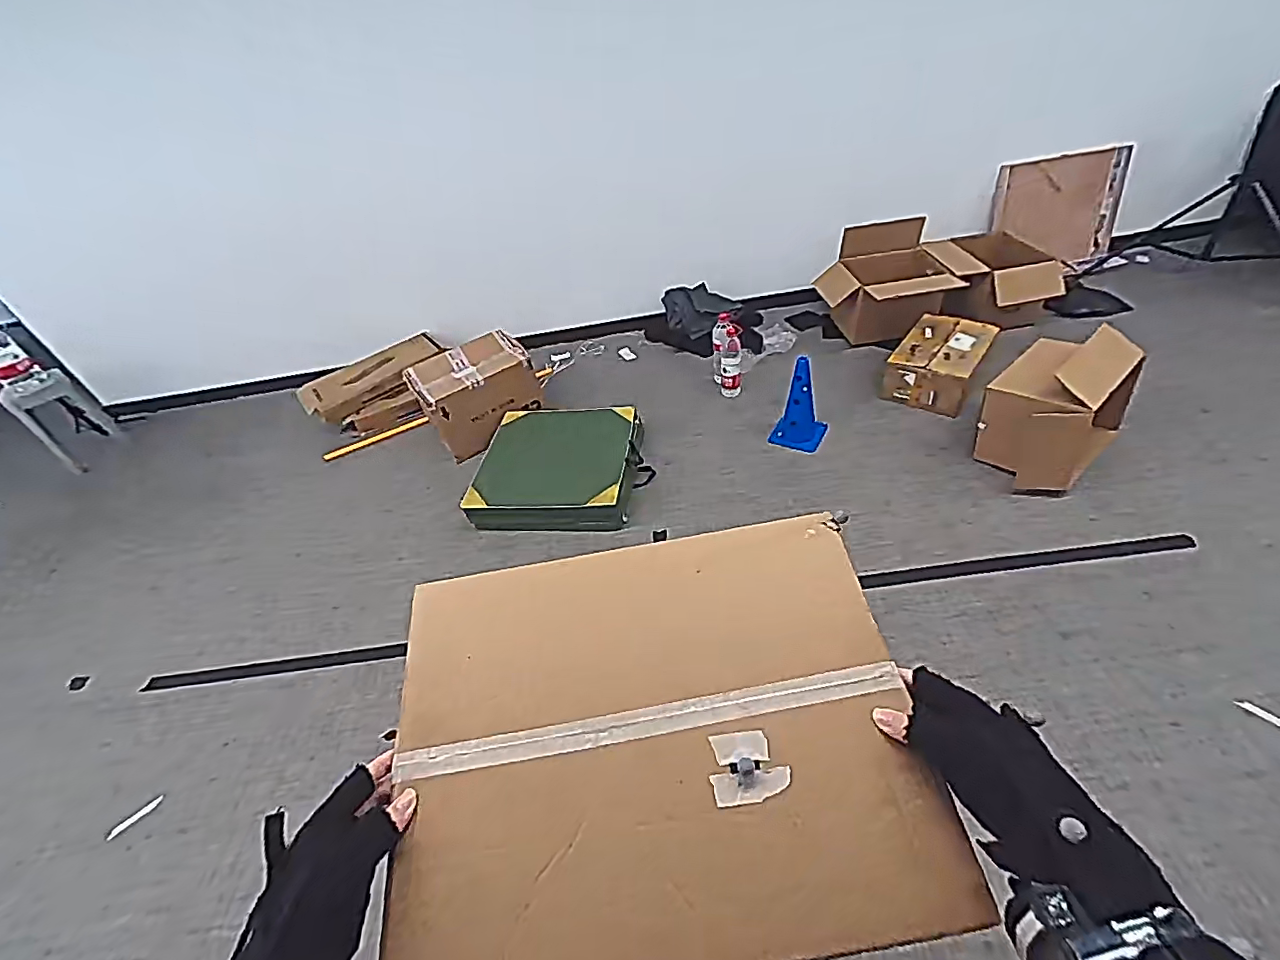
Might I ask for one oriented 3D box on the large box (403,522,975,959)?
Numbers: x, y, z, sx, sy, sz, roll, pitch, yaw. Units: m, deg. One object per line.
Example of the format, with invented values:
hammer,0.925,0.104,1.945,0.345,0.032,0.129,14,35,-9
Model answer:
large box,0.024,0.285,0.567,0.408,0.320,0.320,-10,55,-1
